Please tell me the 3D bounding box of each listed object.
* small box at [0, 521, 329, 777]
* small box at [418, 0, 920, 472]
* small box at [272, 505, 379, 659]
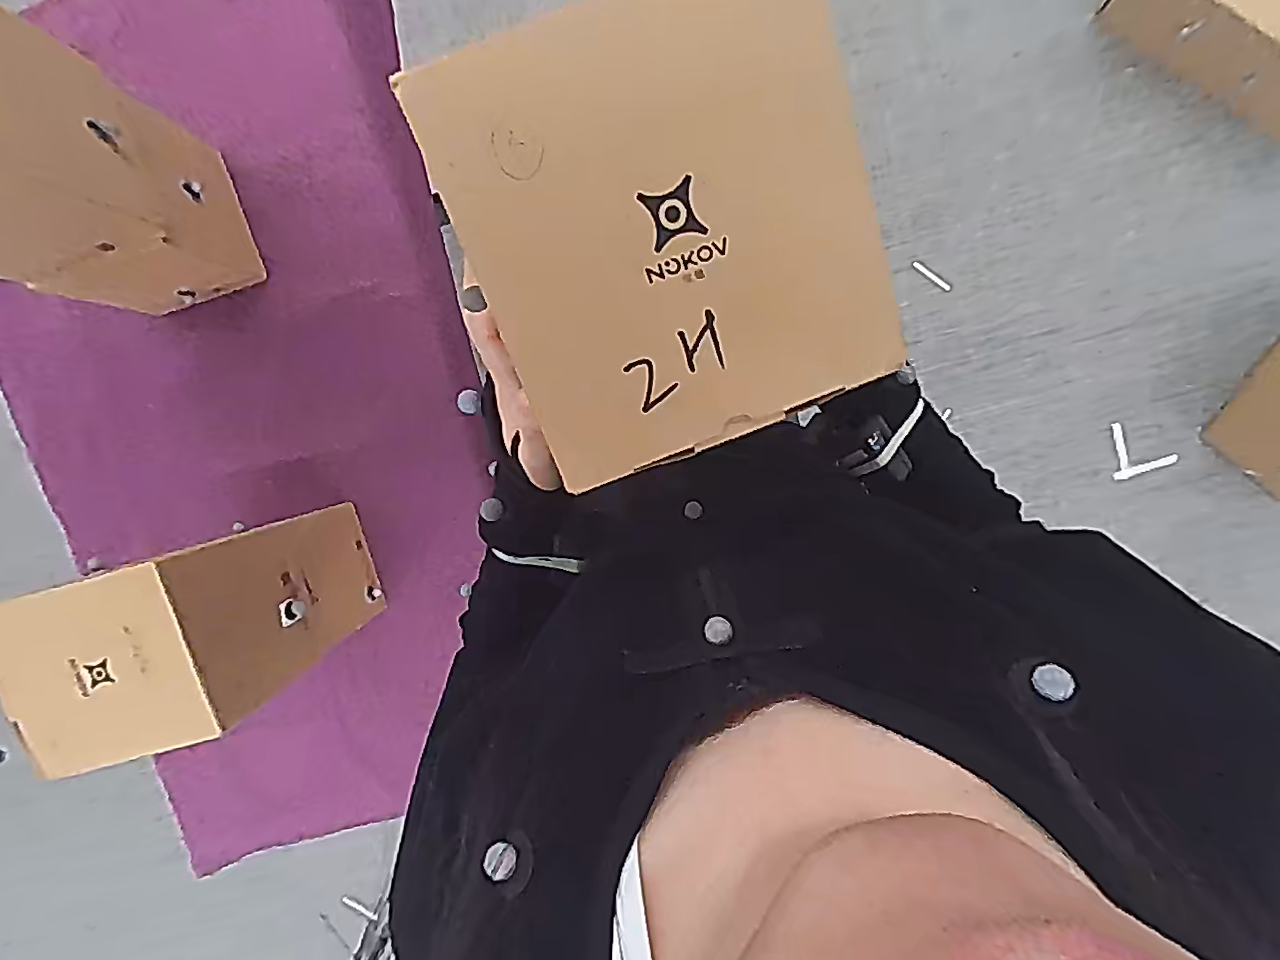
[{"bbox_3d":[-0.462,0.153,0.543,0.179,0.176,0.168,-16,97,2],"label":"small box"},{"bbox_3d":[0.013,-0.127,0.295,0.168,0.176,0.179,-21,106,1],"label":"small box"},{"bbox_3d":[-0.470,0.139,0.705,0.179,0.176,0.168,-15,96,3],"label":"small box"}]
